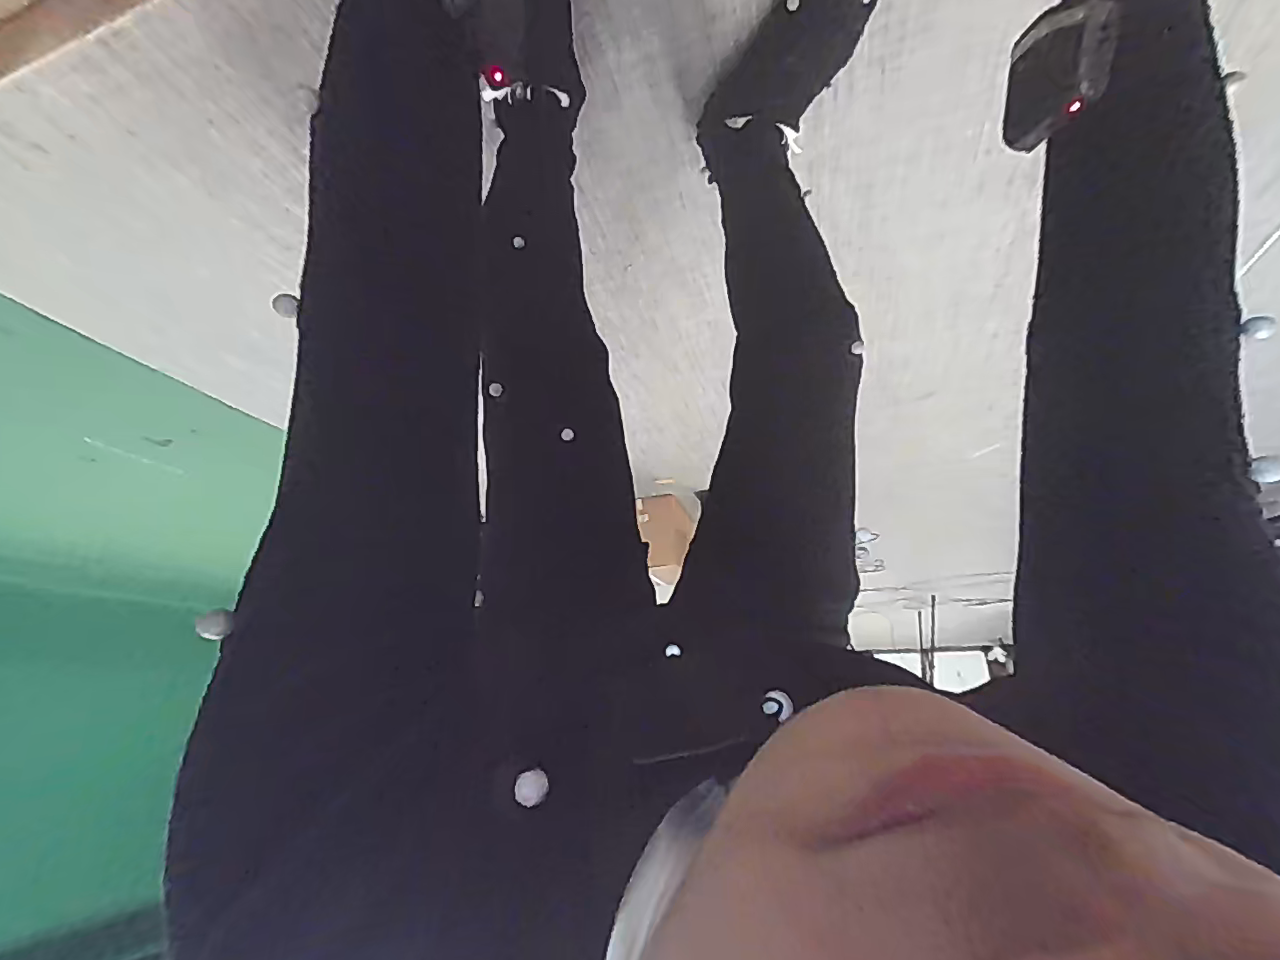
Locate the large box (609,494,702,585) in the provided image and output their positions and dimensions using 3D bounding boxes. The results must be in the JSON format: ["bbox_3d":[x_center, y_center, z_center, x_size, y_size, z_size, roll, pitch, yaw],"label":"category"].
[{"bbox_3d":[0.076,0.282,2.473,0.320,0.320,0.408,-8,158,18],"label":"large box"}]
